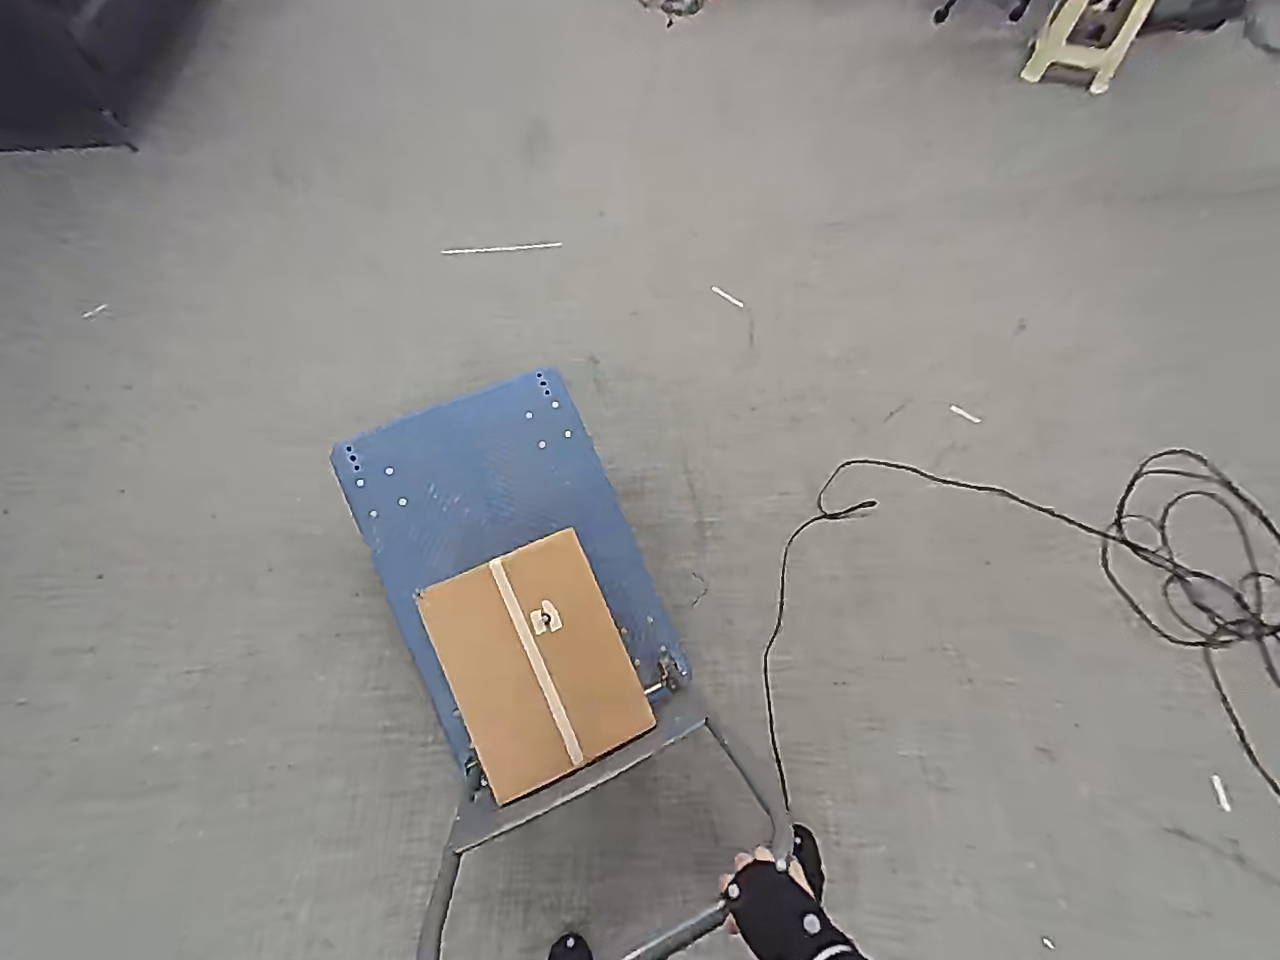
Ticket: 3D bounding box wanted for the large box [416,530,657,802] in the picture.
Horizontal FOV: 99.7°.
[{"bbox_3d":[-0.202,0.354,1.137,0.320,0.320,0.408,-25,86,-10],"label":"large box"}]
